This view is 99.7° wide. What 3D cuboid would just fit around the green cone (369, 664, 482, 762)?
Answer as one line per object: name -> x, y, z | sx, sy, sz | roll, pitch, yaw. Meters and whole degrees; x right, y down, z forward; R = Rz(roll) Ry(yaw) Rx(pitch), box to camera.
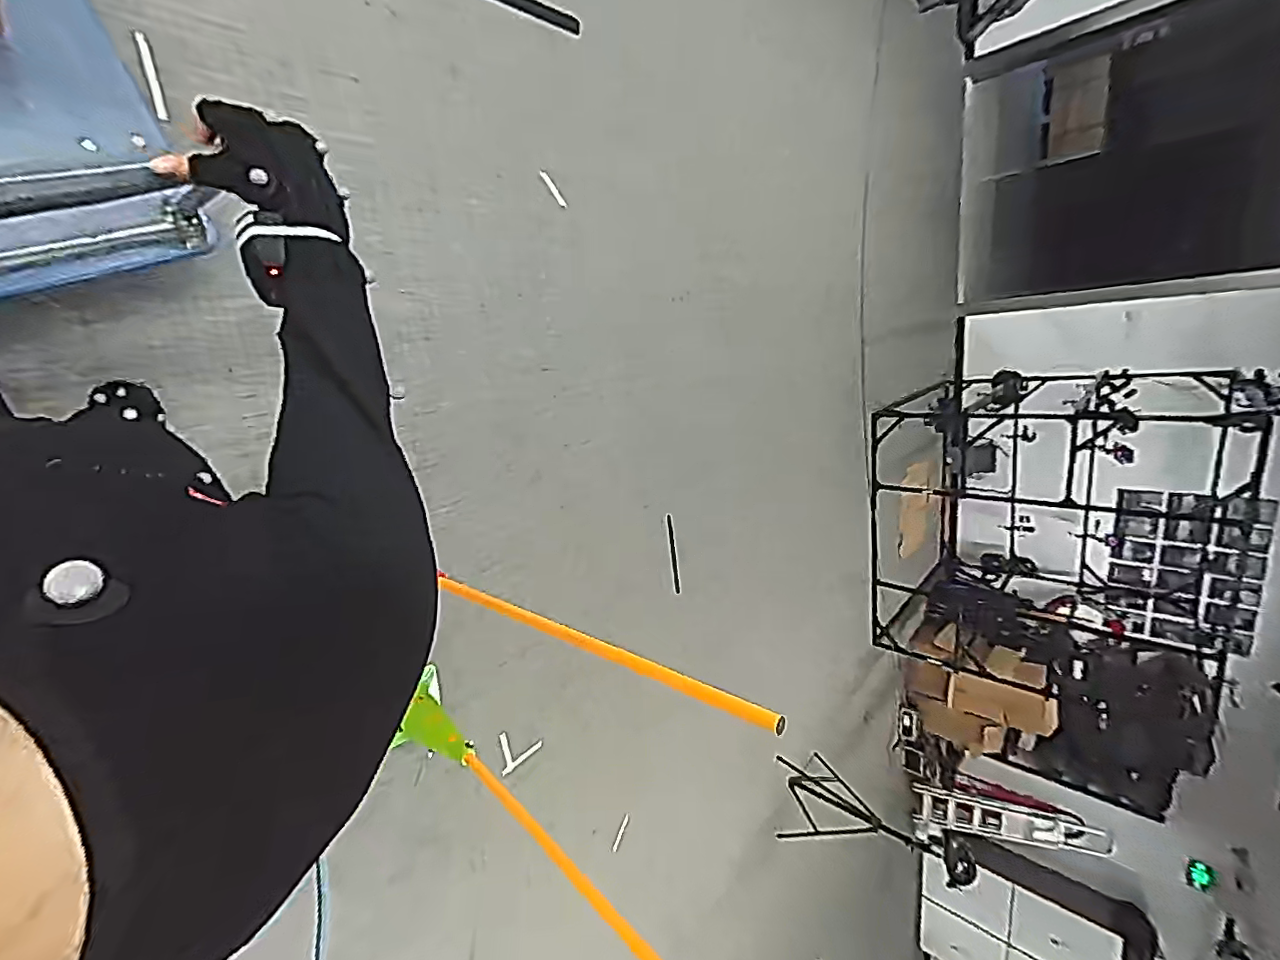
green cone -> -0.550, 0.678, 1.466 | 0.202, 0.368, 0.200 | -17, 107, -47
